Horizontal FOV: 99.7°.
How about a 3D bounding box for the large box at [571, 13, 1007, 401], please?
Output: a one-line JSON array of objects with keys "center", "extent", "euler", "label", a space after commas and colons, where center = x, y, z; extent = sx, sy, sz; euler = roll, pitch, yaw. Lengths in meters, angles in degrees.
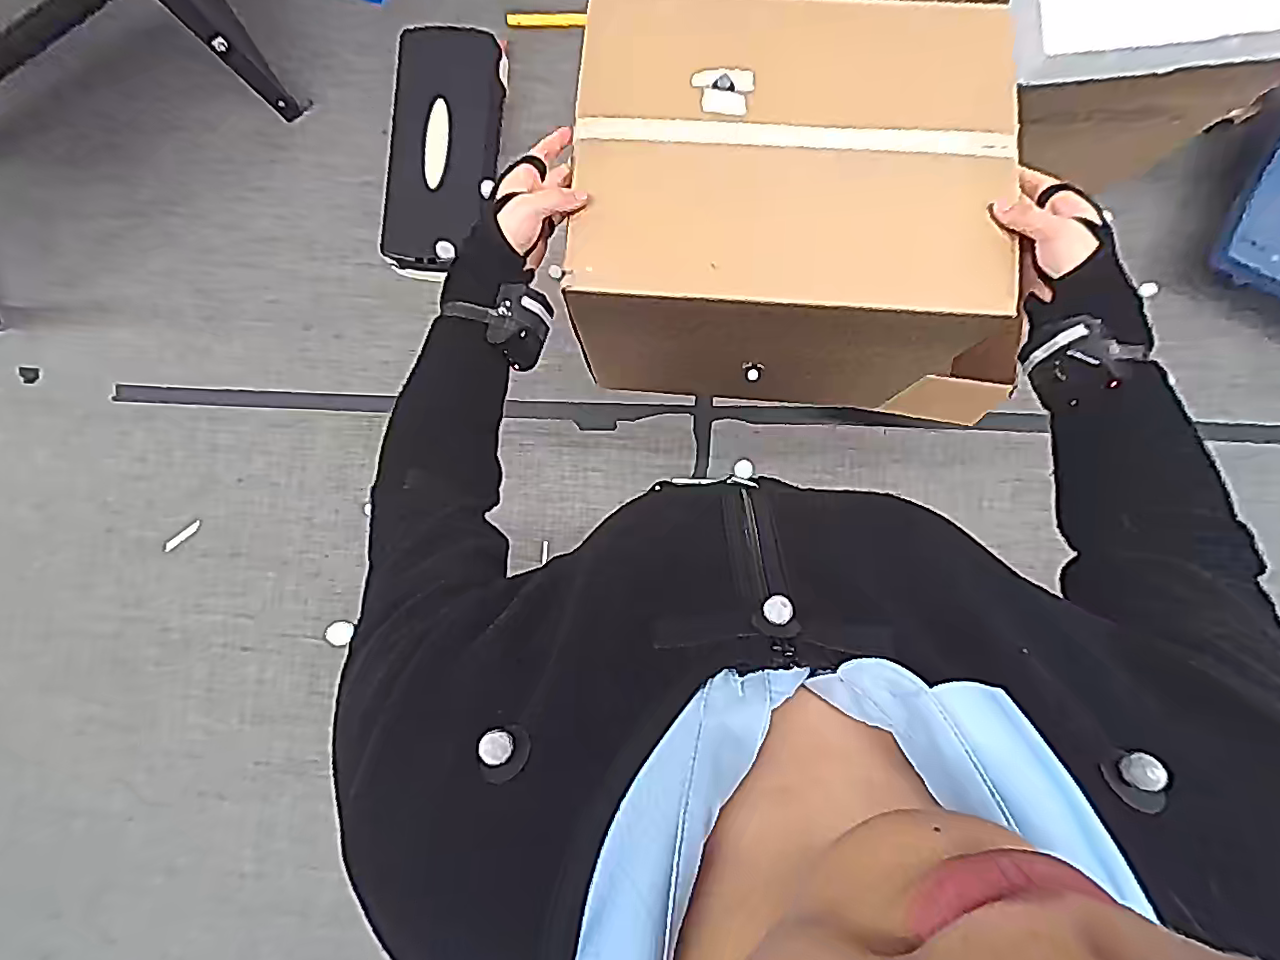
[{"center": [0.148, -0.290, 0.662], "extent": [0.408, 0.320, 0.320], "euler": [3, 81, 3], "label": "large box"}]
